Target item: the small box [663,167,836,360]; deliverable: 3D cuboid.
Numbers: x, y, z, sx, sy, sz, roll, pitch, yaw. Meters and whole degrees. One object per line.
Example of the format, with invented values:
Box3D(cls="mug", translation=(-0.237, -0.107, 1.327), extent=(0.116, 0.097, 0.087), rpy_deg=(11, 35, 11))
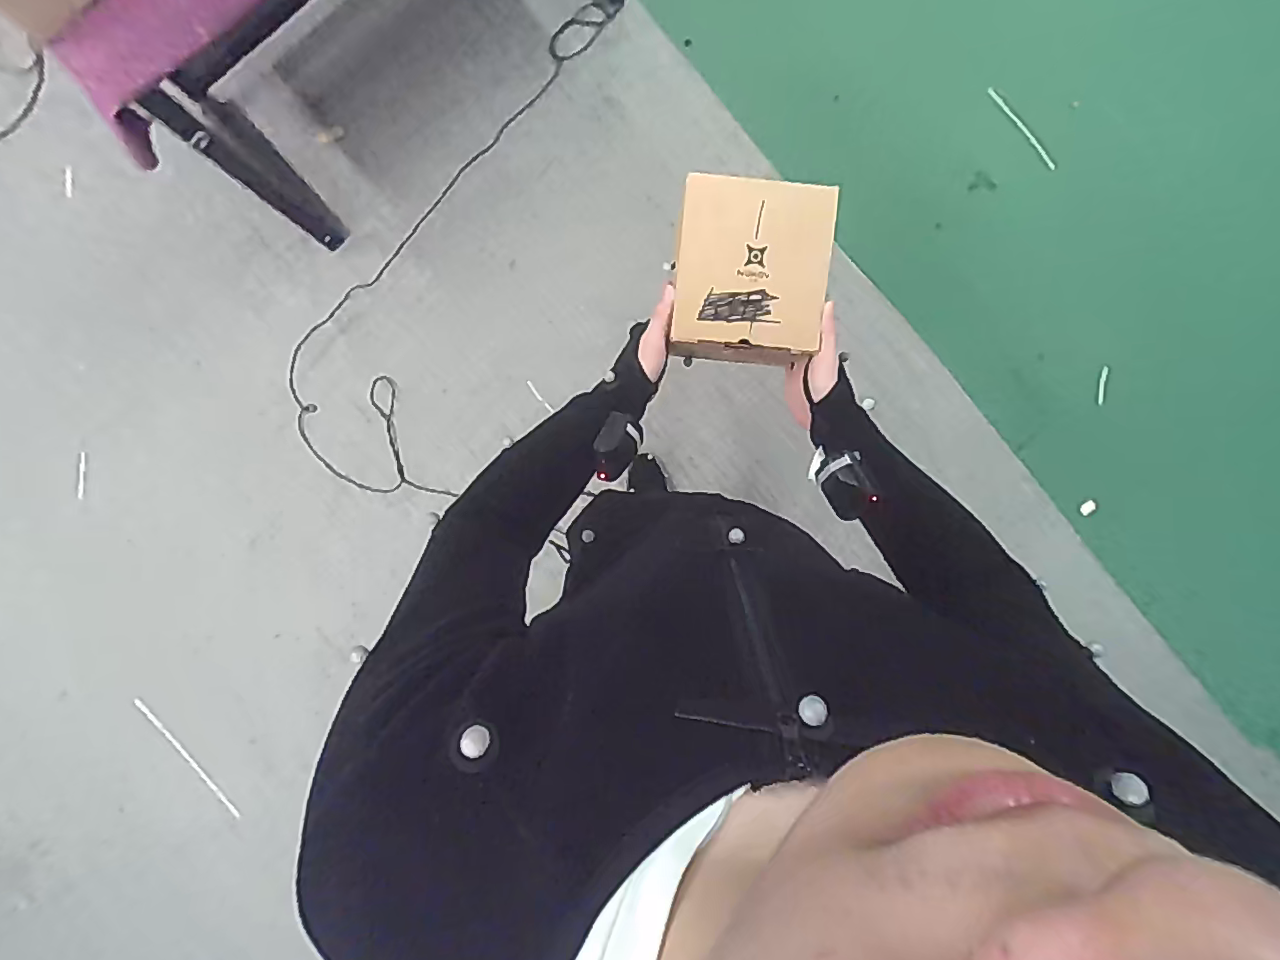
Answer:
Box3D(cls="small box", translation=(0.118, -0.244, 0.654), extent=(0.168, 0.176, 0.179), rpy_deg=(4, 96, -1))
